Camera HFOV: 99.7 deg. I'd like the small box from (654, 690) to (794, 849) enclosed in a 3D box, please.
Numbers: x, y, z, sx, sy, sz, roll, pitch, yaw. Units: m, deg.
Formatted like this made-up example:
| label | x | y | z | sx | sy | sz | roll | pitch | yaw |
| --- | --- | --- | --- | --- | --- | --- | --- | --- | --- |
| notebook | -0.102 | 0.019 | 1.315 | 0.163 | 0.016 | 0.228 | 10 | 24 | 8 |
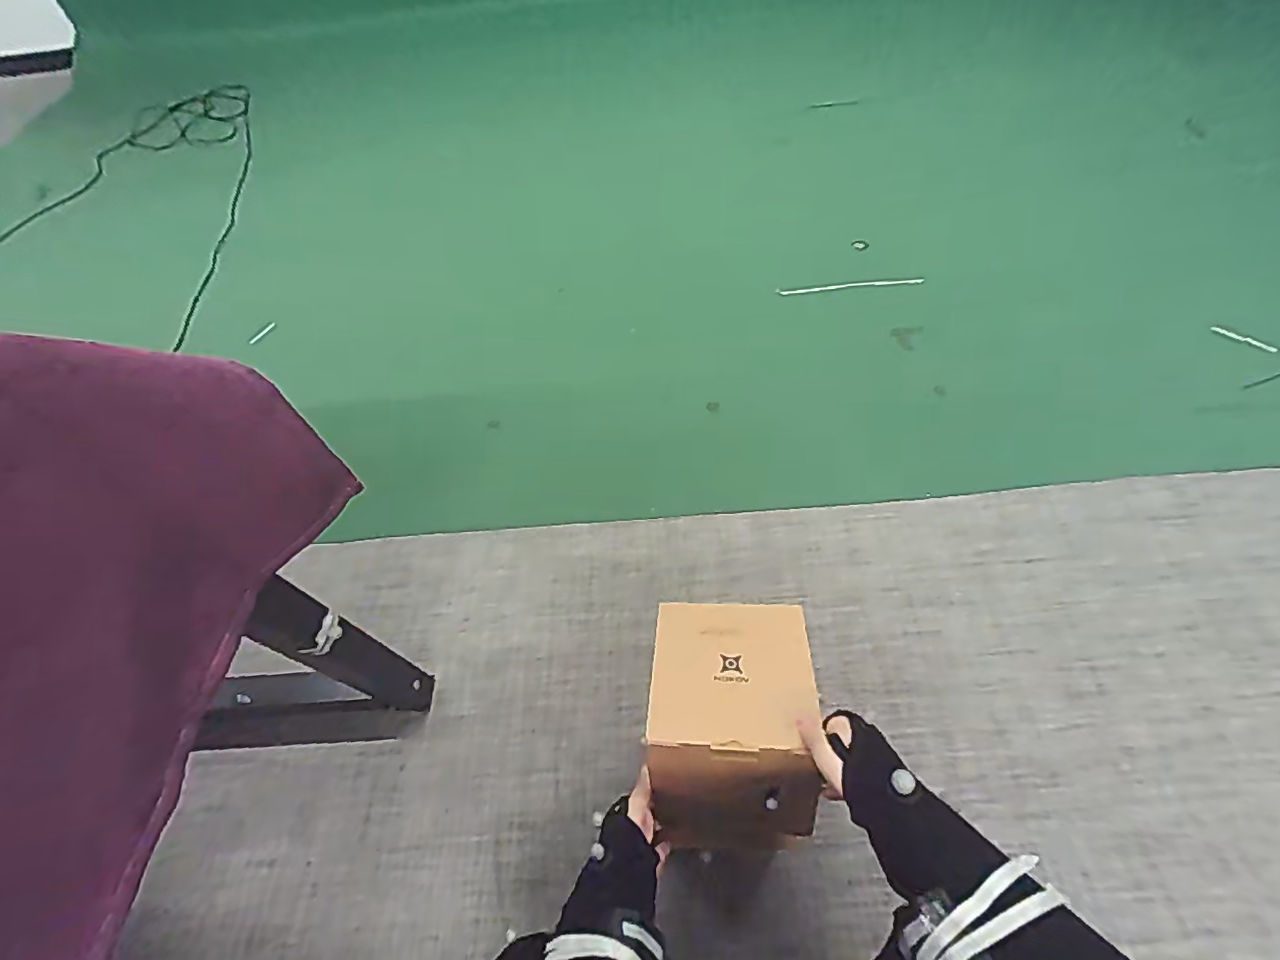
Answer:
| label | x | y | z | sx | sy | sz | roll | pitch | yaw |
| --- | --- | --- | --- | --- | --- | --- | --- | --- | --- |
| small box | 0.107 | 0.397 | 0.741 | 0.168 | 0.176 | 0.179 | -2 | 55 | 4 |
